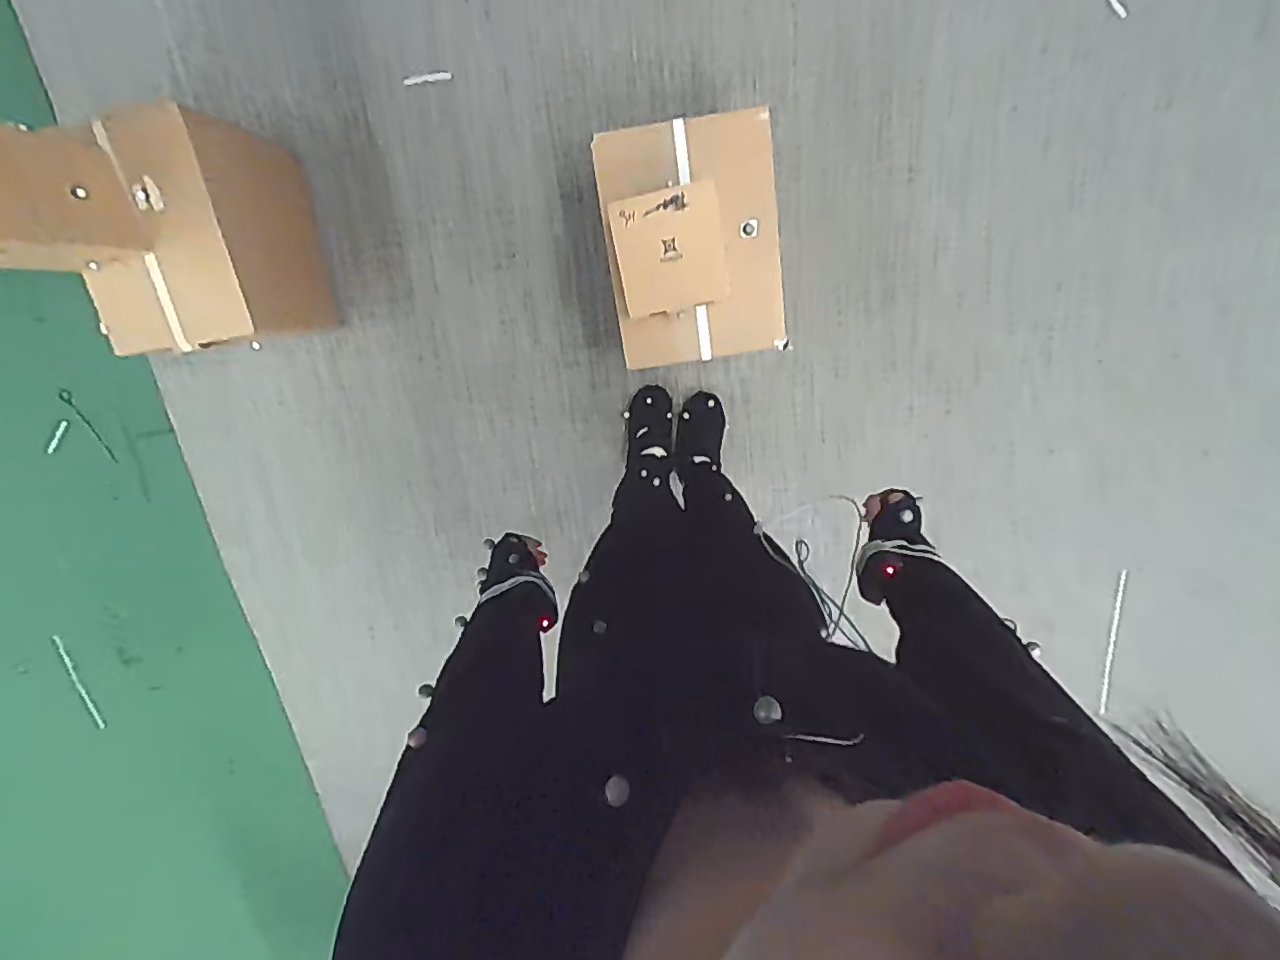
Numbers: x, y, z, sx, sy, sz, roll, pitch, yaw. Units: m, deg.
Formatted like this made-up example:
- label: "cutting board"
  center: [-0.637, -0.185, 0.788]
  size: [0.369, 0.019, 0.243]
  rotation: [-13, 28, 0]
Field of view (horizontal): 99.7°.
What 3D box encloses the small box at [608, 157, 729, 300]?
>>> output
- label: "small box"
  center: [0.053, -0.409, 0.901]
  size: [0.168, 0.176, 0.179]
  rotation: [-9, 109, 8]
